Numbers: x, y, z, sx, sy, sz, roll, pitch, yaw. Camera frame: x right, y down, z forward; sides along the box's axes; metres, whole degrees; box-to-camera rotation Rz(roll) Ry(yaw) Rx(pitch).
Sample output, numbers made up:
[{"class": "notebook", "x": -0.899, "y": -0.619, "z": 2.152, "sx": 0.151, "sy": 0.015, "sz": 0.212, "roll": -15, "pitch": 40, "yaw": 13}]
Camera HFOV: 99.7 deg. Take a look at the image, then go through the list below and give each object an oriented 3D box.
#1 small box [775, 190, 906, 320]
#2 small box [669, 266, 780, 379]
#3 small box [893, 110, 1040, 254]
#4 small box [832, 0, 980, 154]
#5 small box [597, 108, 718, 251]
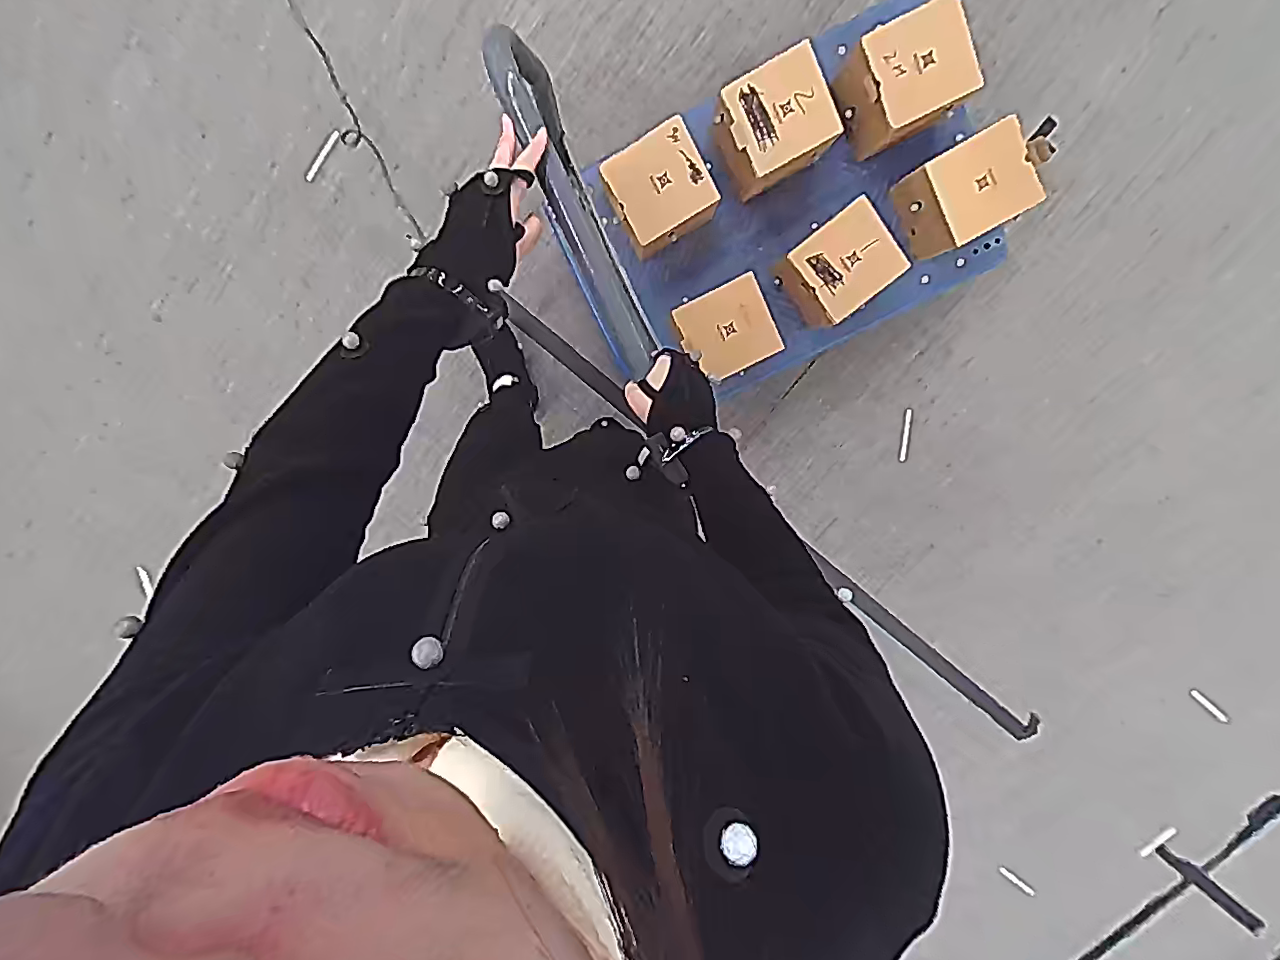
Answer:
[{"class": "small box", "x": 0.396, "y": -0.447, "z": 1.110, "sx": 0.179, "sy": 0.176, "sz": 0.168, "roll": -37, "pitch": 100, "yaw": 8}, {"class": "small box", "x": 0.170, "y": -0.326, "z": 1.143, "sx": 0.179, "sy": 0.176, "sz": 0.168, "roll": -25, "pitch": 103, "yaw": 6}, {"class": "small box", "x": 0.633, "y": -0.577, "z": 1.077, "sx": 0.179, "sy": 0.176, "sz": 0.168, "roll": -28, "pitch": 101, "yaw": 7}, {"class": "small box", "x": 0.498, "y": -0.765, "z": 1.032, "sx": 0.179, "sy": 0.176, "sz": 0.168, "roll": -23, "pitch": 102, "yaw": 7}, {"class": "small box", "x": 0.035, "y": -0.584, "z": 1.080, "sx": 0.179, "sy": 0.176, "sz": 0.168, "roll": -29, "pitch": 102, "yaw": 7}]
